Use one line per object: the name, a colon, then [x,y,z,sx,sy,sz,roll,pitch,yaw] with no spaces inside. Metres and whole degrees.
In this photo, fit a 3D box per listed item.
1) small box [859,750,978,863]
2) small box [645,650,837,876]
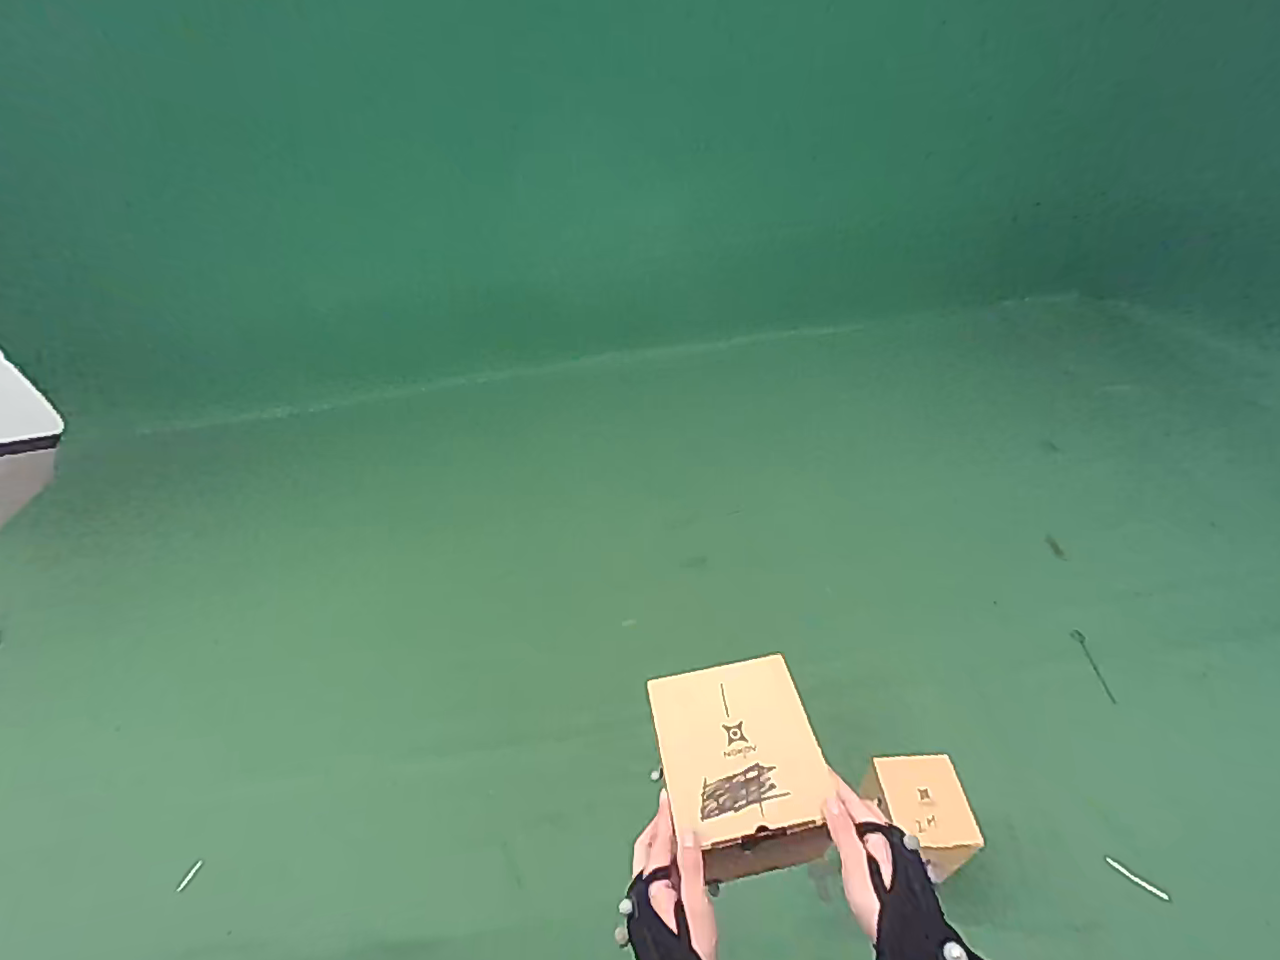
small box: [0.605,0.726,1.203,0.168,0.176,0.179,-4,43,3]
small box: [0.105,0.330,0.625,0.168,0.176,0.179,-10,42,-4]
